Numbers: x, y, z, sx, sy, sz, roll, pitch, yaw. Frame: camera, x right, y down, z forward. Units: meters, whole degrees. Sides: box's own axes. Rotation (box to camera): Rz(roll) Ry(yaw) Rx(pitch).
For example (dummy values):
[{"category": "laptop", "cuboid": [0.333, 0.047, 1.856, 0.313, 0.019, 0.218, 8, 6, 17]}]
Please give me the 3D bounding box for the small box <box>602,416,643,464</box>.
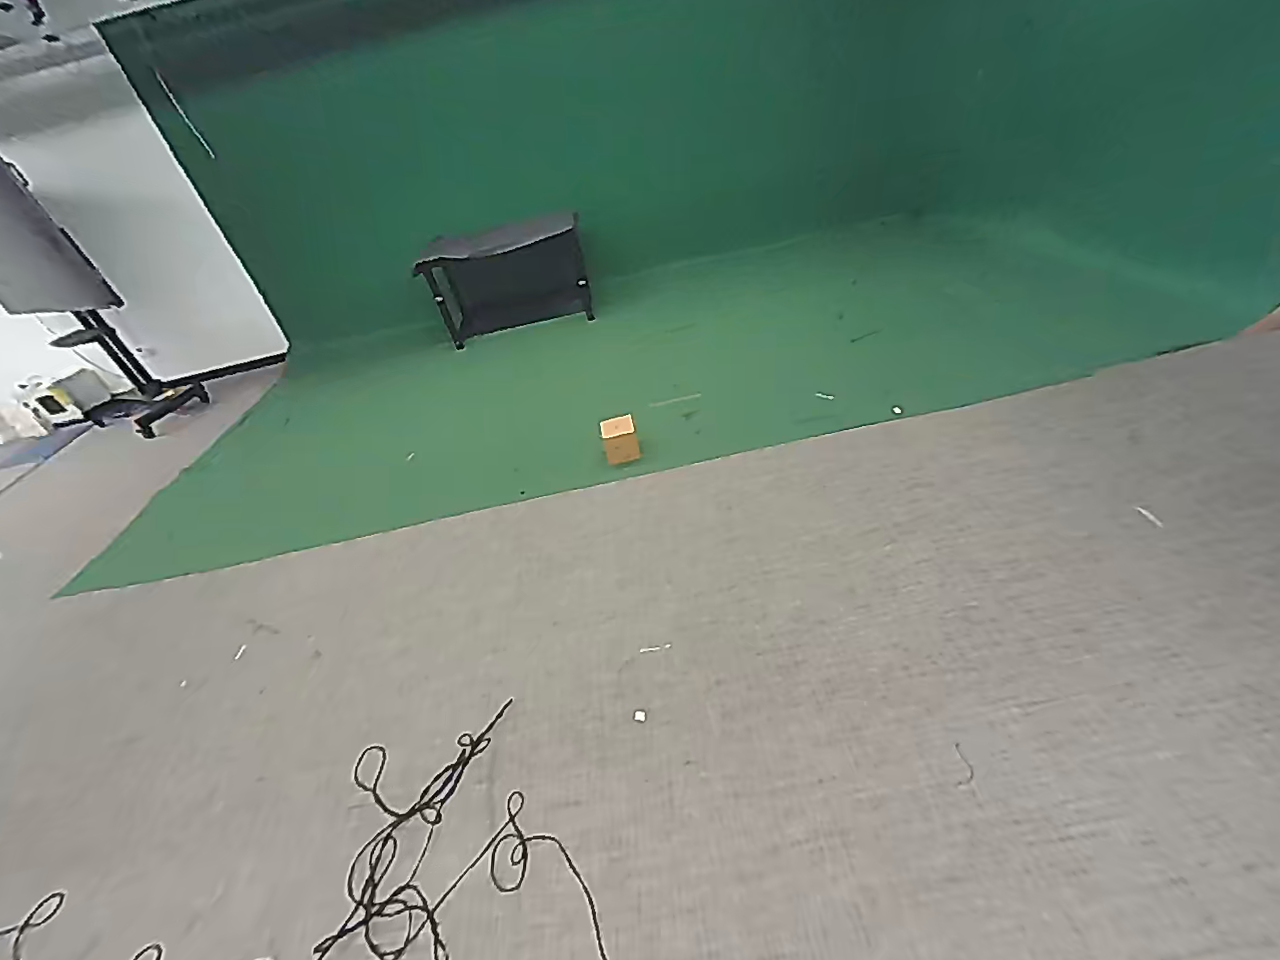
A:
[{"category": "small box", "cuboid": [-0.087, -0.197, 2.762, 0.168, 0.176, 0.179, -14, 36, 1]}]
